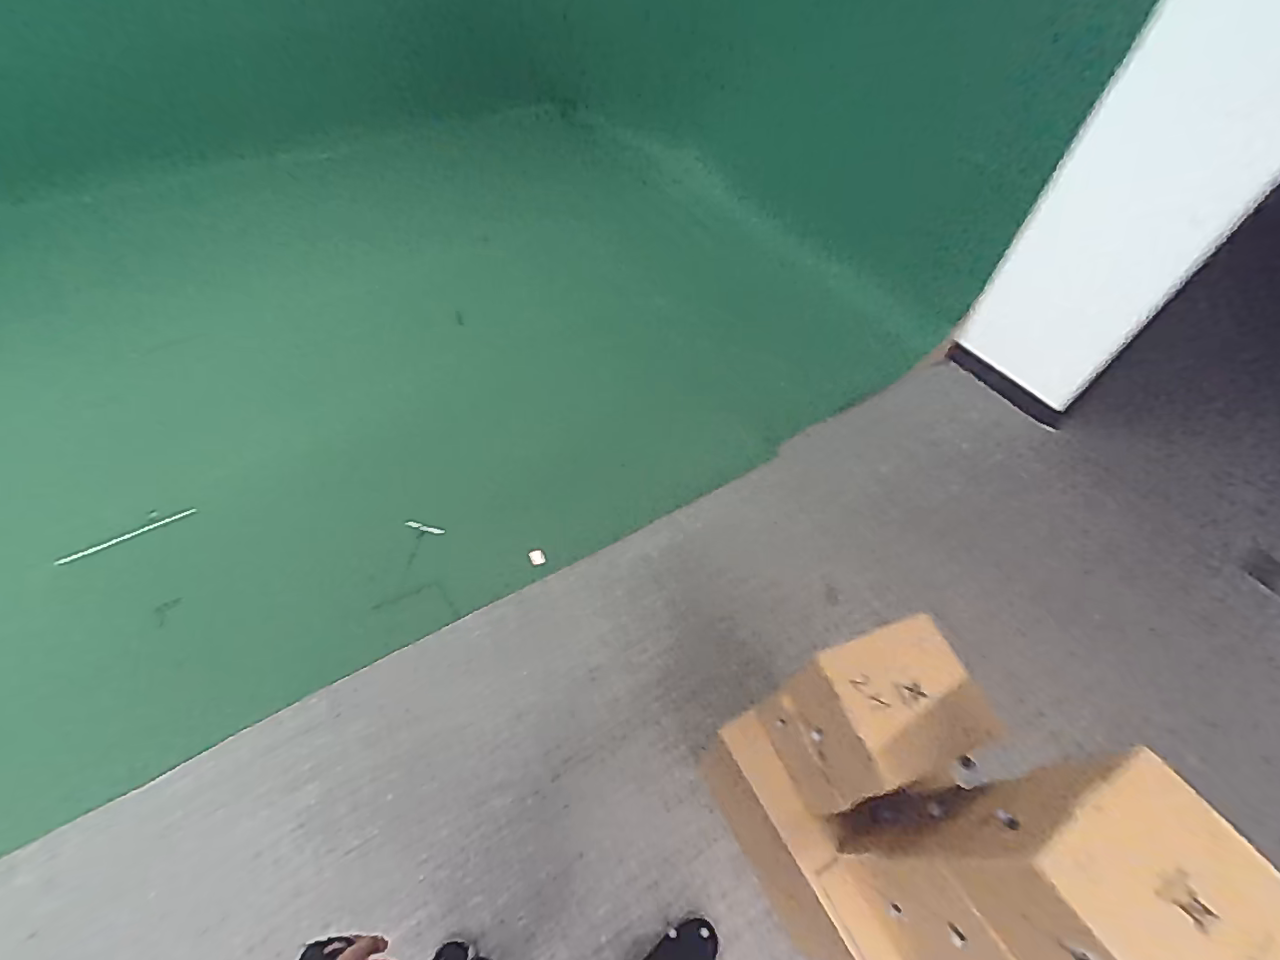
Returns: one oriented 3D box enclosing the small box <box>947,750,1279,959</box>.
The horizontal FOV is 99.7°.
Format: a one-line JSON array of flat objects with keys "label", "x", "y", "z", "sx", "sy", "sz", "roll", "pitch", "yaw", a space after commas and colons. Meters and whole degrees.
[{"label": "small box", "x": 0.429, "y": 0.384, "z": 0.491, "sx": 0.168, "sy": 0.176, "sz": 0.179, "roll": -26, "pitch": 59, "yaw": -17}]
